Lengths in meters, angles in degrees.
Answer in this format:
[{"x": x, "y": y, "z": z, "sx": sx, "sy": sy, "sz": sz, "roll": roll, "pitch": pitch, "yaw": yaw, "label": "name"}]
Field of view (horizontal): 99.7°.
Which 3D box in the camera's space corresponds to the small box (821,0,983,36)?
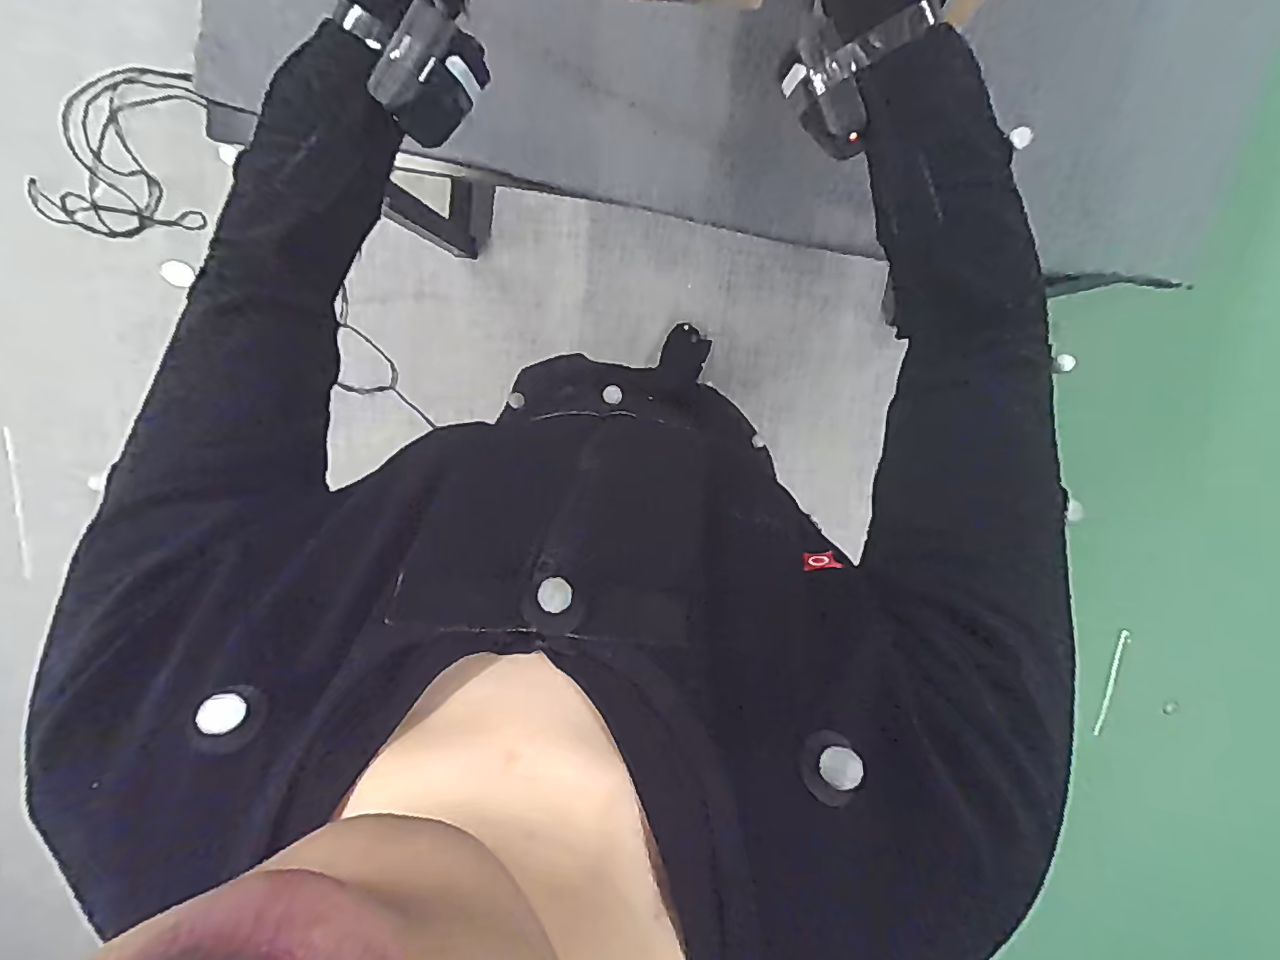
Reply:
[{"x": 0.286, "y": -0.583, "z": 0.517, "sx": 0.168, "sy": 0.176, "sz": 0.179, "roll": 9, "pitch": 101, "yaw": 3, "label": "small box"}]
